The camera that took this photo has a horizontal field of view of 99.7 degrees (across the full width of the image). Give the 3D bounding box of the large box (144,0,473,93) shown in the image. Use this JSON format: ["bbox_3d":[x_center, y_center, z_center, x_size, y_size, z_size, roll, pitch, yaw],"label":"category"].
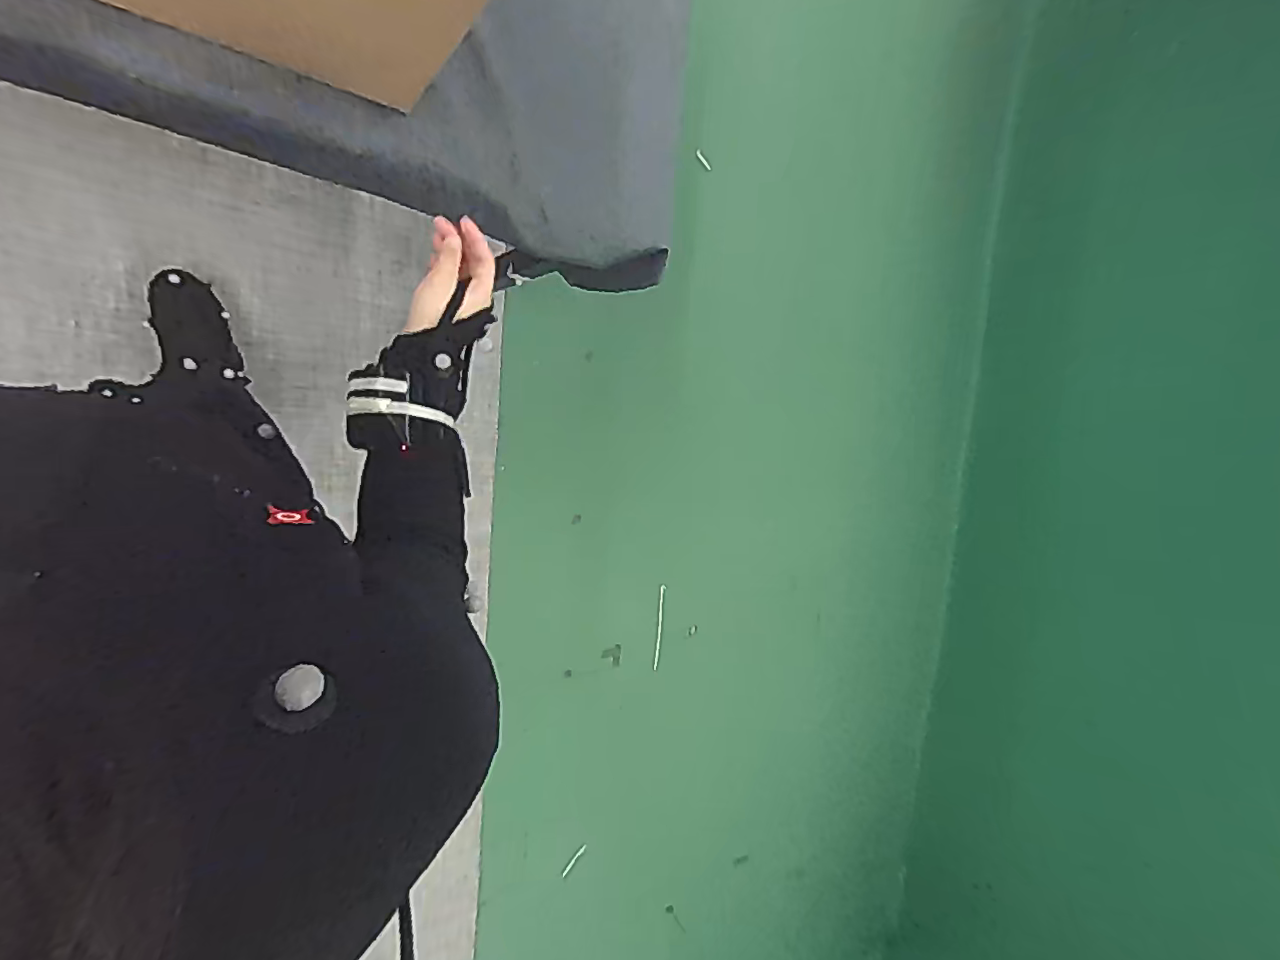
[{"bbox_3d":[-0.310,-0.536,0.332,0.408,0.320,0.320,-5,100,-40],"label":"large box"}]
